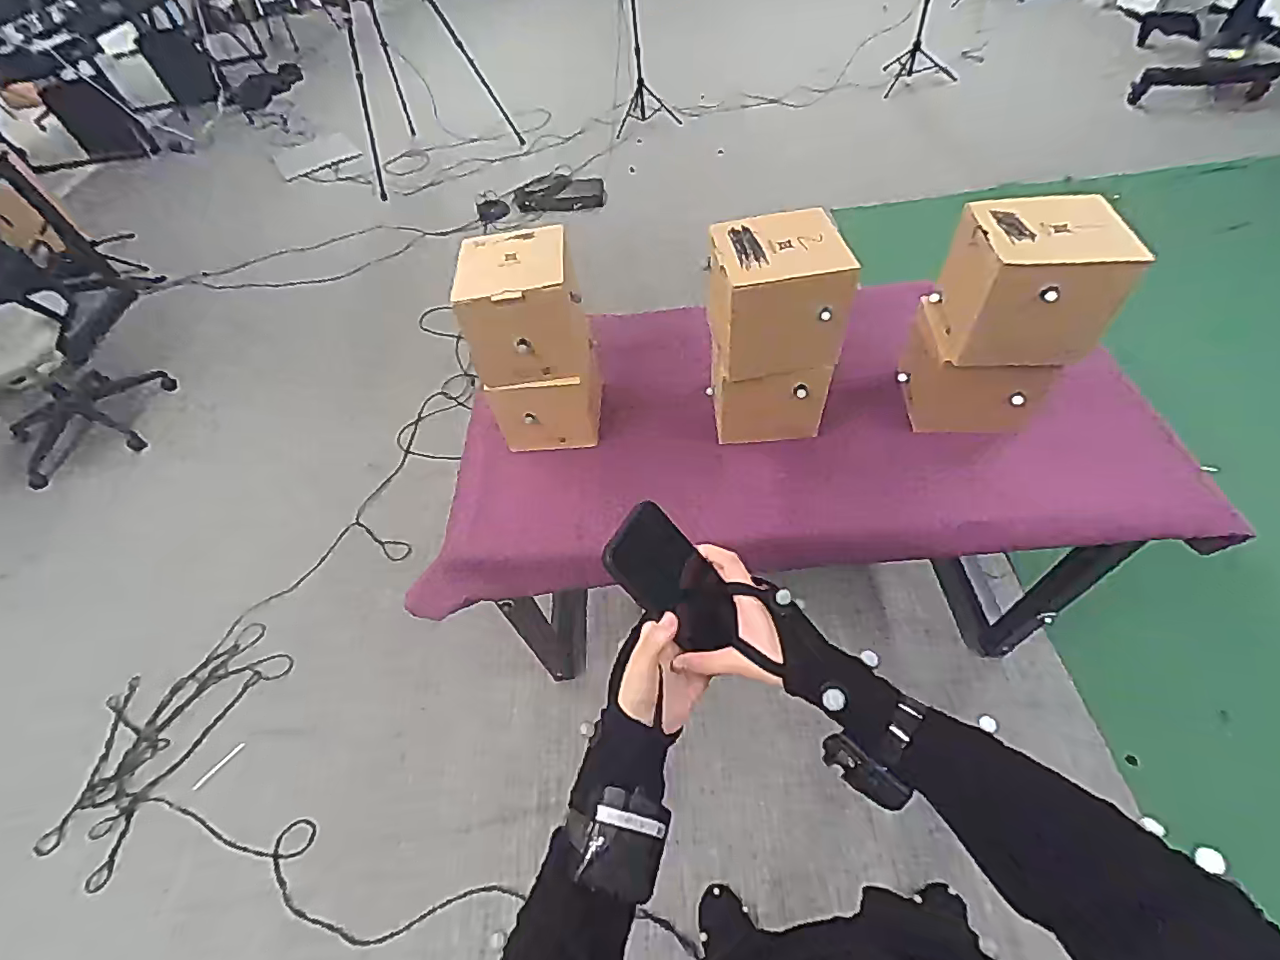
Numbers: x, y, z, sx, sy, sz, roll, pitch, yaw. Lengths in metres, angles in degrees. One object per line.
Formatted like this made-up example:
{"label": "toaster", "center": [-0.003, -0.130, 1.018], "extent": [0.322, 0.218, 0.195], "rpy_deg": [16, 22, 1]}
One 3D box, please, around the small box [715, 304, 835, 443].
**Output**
{"label": "small box", "center": [0.224, -0.182, 0.948], "extent": [0.179, 0.176, 0.168], "rpy_deg": [-4, 52, 6]}

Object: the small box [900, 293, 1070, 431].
{"label": "small box", "center": [0.562, -0.196, 0.909], "extent": [0.179, 0.176, 0.168], "rpy_deg": [1, 52, 9]}

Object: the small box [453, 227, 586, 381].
{"label": "small box", "center": [-0.183, -0.275, 0.873], "extent": [0.168, 0.176, 0.179], "rpy_deg": [-7, 53, 2]}

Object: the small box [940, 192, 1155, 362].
{"label": "small box", "center": [0.551, -0.283, 0.770], "extent": [0.179, 0.176, 0.168], "rpy_deg": [1, 53, 8]}

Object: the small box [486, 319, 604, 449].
{"label": "small box", "center": [-0.163, -0.169, 0.998], "extent": [0.168, 0.176, 0.179], "rpy_deg": [-4, 52, 6]}
